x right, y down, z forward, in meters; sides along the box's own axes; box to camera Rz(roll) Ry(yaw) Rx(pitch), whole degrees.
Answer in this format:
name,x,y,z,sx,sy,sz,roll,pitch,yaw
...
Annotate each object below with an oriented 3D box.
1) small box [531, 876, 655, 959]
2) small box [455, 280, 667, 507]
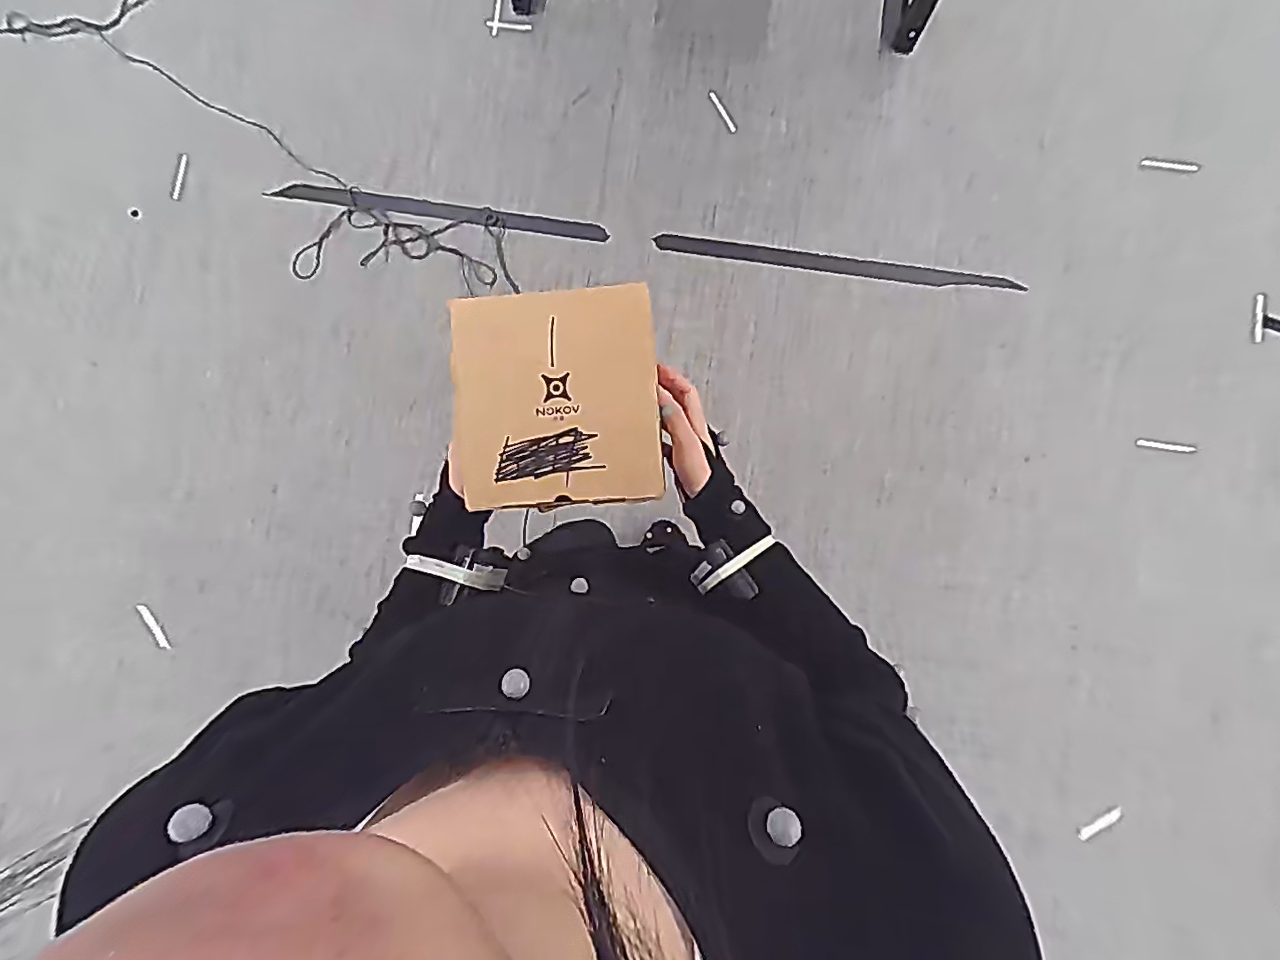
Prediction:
name,x,y,z,sx,sy,sz,roll,pitch,yaw
small box,-0.069,0.721,0.775,0.168,0.176,0.179,7,86,2
small box,-0.060,-0.071,0.516,0.168,0.176,0.179,-3,91,3
